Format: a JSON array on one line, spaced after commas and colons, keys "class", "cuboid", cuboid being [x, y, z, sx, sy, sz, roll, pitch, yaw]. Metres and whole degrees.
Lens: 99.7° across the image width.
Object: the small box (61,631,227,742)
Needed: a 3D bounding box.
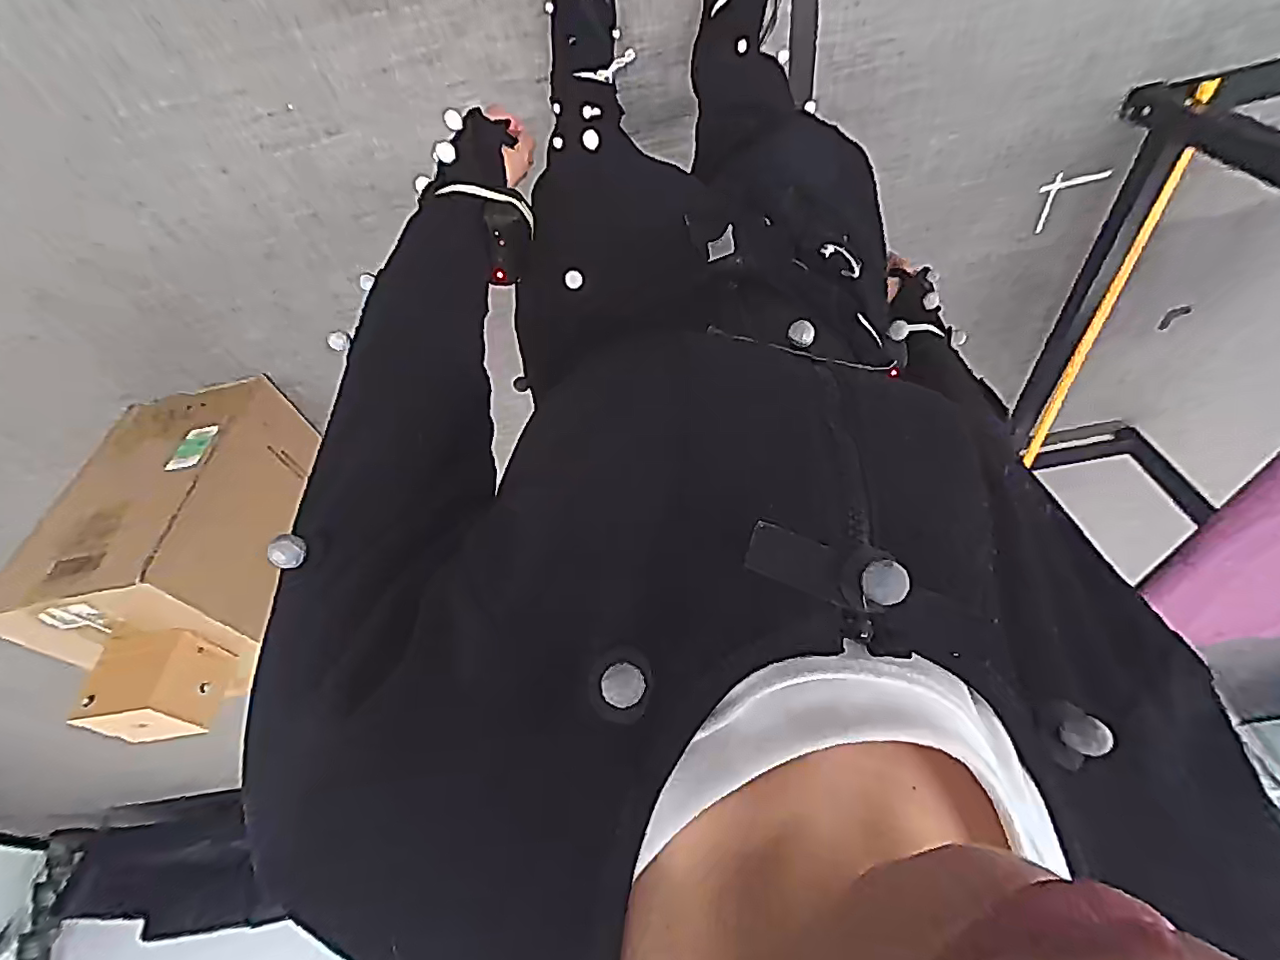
[{"class": "small box", "cuboid": [-1.014, 0.431, 1.132, 0.179, 0.176, 0.168, -10, 140, 3]}]
